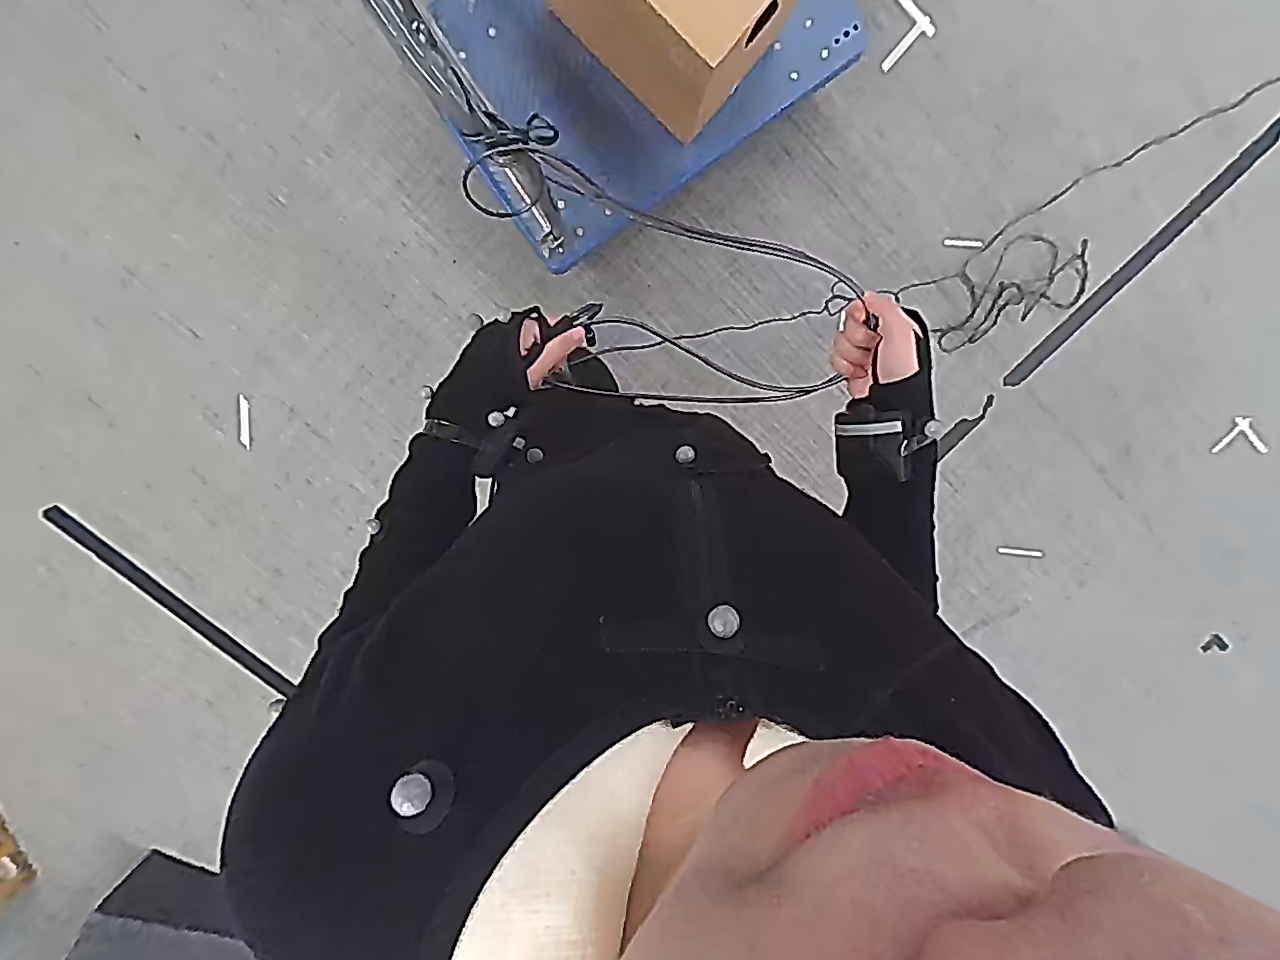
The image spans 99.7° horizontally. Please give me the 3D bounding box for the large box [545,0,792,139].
[{"bbox_3d":[0.059,-0.953,0.995,0.408,0.320,0.320,39,97,-11],"label":"large box"}]
